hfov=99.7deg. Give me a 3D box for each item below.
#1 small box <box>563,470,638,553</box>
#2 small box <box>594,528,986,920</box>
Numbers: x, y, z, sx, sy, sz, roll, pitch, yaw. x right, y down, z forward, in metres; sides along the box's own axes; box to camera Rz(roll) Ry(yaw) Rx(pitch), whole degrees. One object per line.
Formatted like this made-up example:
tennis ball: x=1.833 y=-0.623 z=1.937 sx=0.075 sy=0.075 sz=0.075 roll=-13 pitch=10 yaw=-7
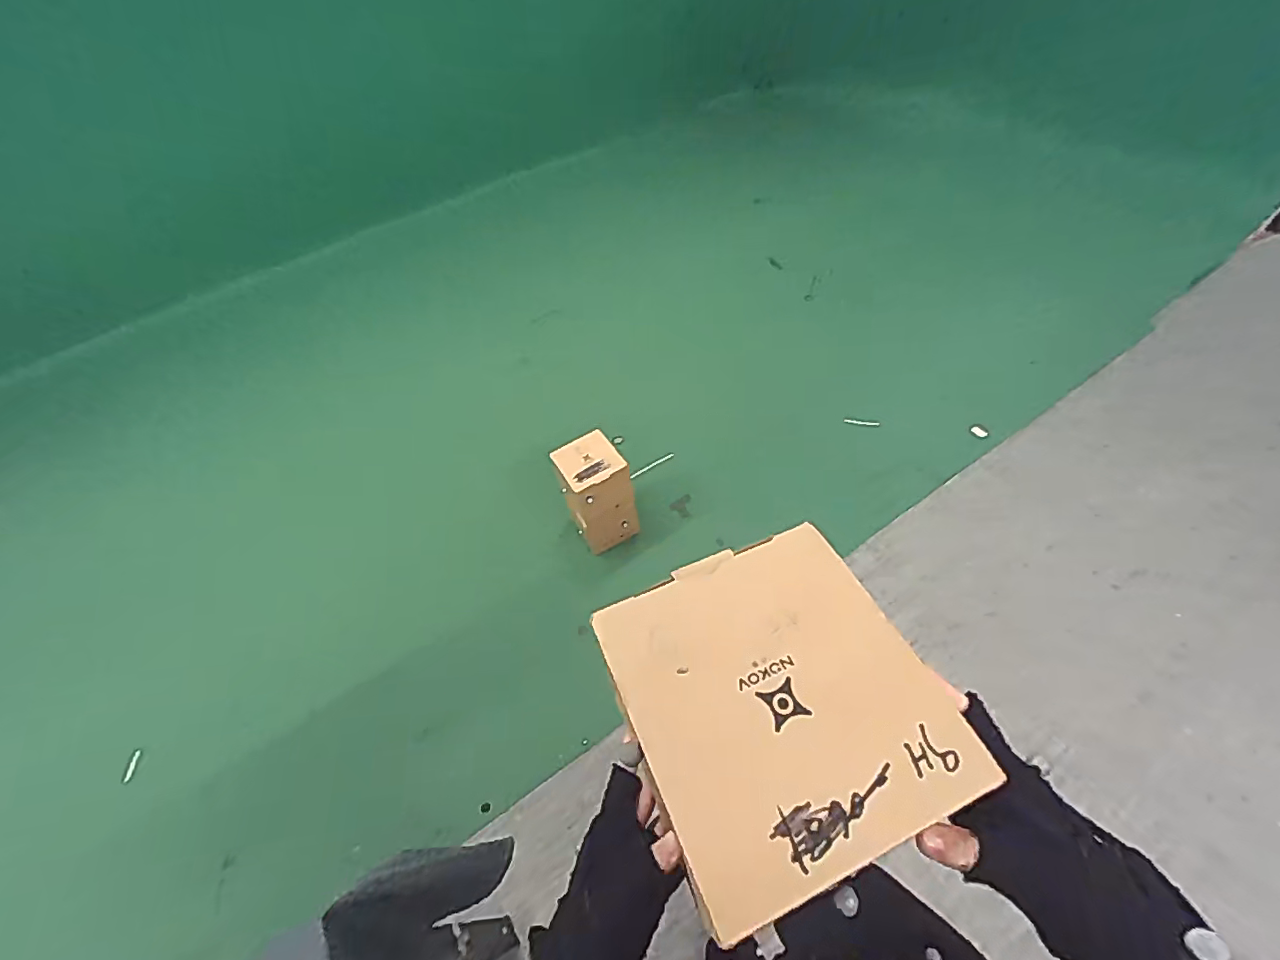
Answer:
small box: x=-0.119 y=0.107 z=1.706 sx=0.168 sy=0.176 sz=0.179 roll=-27 pitch=54 yaw=-13
small box: x=0.079 y=0.170 z=0.378 sx=0.168 sy=0.176 sz=0.179 roll=-21 pitch=53 yaw=-11
